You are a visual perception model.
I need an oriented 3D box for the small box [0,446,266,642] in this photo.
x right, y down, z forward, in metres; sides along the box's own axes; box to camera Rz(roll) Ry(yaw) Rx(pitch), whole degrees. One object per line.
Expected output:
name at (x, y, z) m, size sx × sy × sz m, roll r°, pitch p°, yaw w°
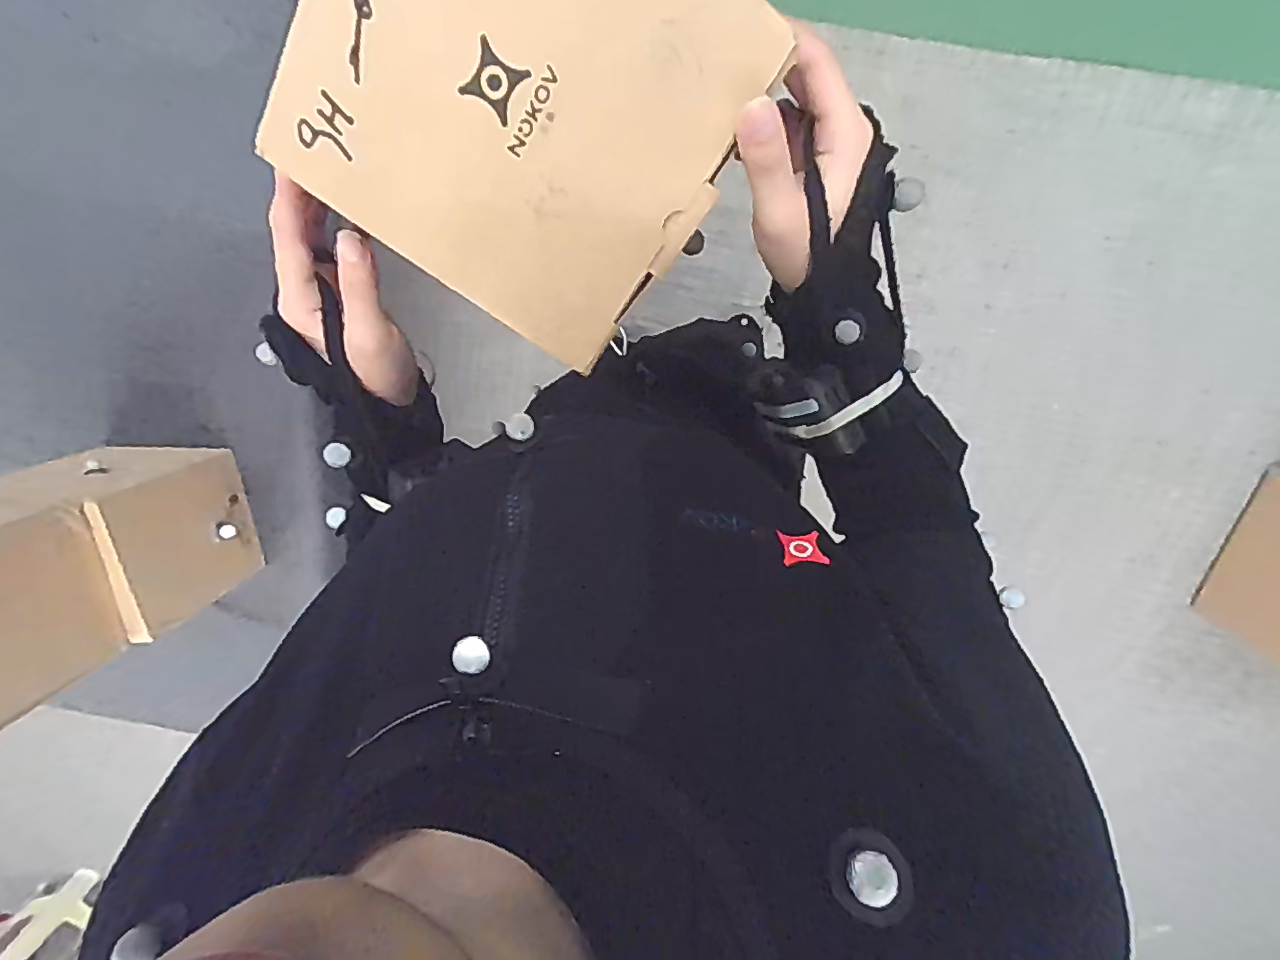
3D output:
small box at (-0.584, 0.063, 0.619) m, size 0.179 × 0.176 × 0.168 m, roll 1°, pitch 111°, yaw 4°

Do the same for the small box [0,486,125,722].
small box at (-0.611, 0.115, 0.467) m, size 0.168 × 0.176 × 0.179 m, roll 4°, pitch 110°, yaw 2°
